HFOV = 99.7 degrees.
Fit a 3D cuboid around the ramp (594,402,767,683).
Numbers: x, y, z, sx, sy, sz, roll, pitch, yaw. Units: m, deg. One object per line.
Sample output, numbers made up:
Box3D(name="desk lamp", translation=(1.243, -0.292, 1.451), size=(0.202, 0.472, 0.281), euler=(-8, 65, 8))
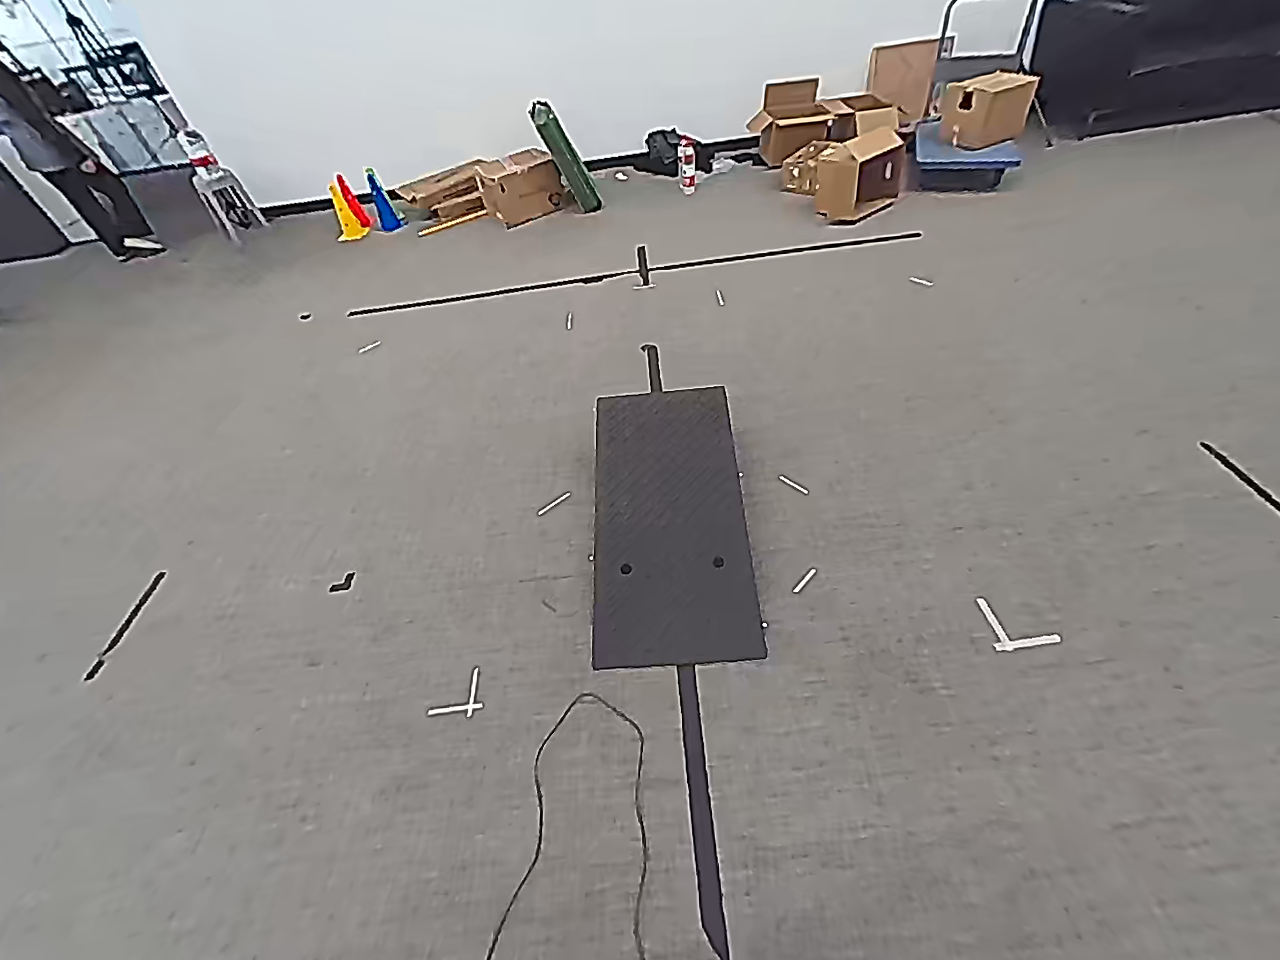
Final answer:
Box3D(name="ramp", translation=(0.092, 0.141, 1.797), size=(0.509, 0.206, 0.991), euler=(-7, 45, 2))
